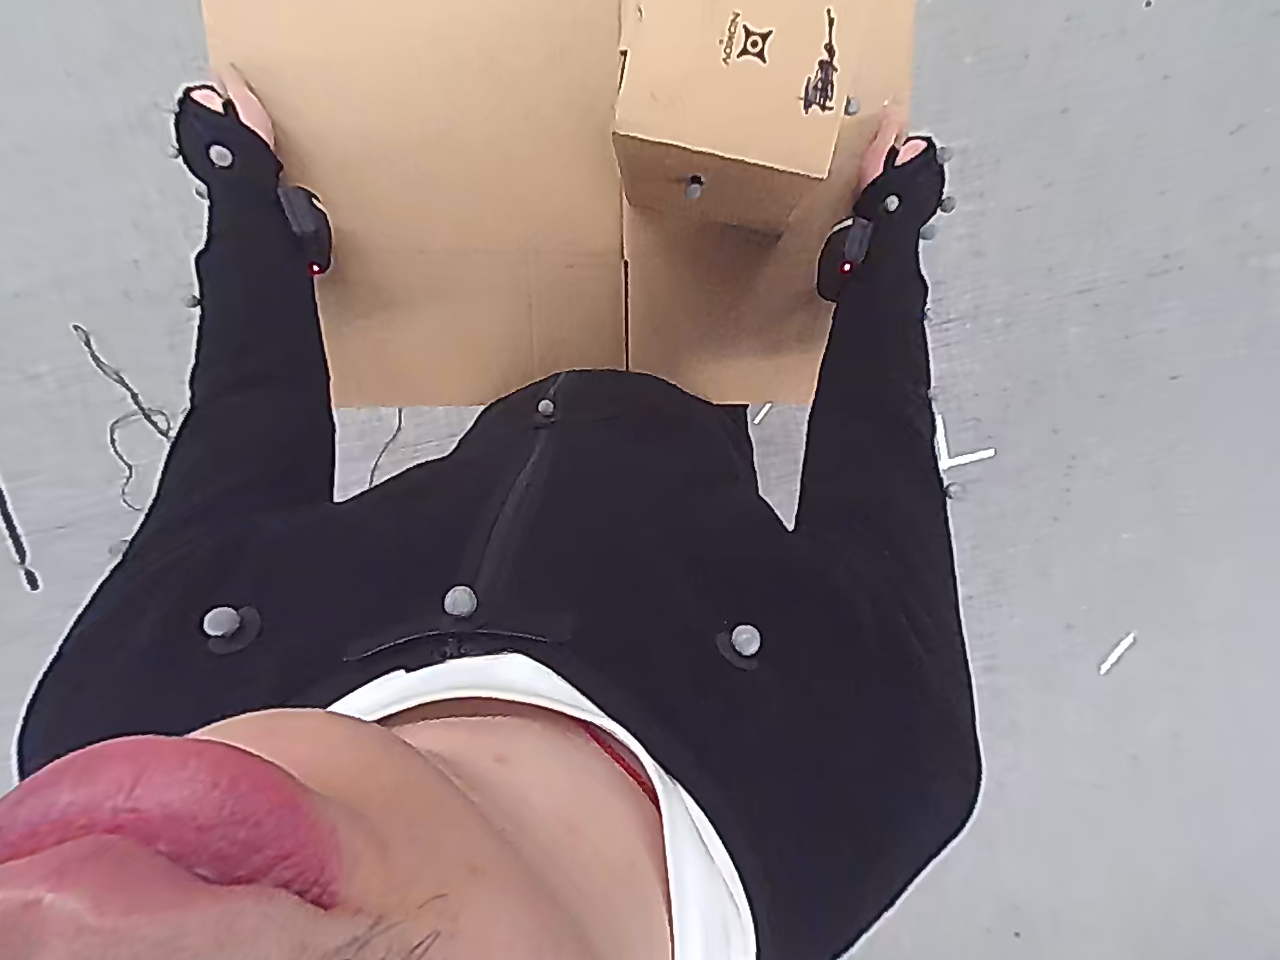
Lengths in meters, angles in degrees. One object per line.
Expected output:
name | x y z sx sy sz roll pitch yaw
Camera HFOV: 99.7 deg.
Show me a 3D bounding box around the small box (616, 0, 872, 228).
small box | 0.088 -0.350 0.495 0.179 0.176 0.168 13 101 2
